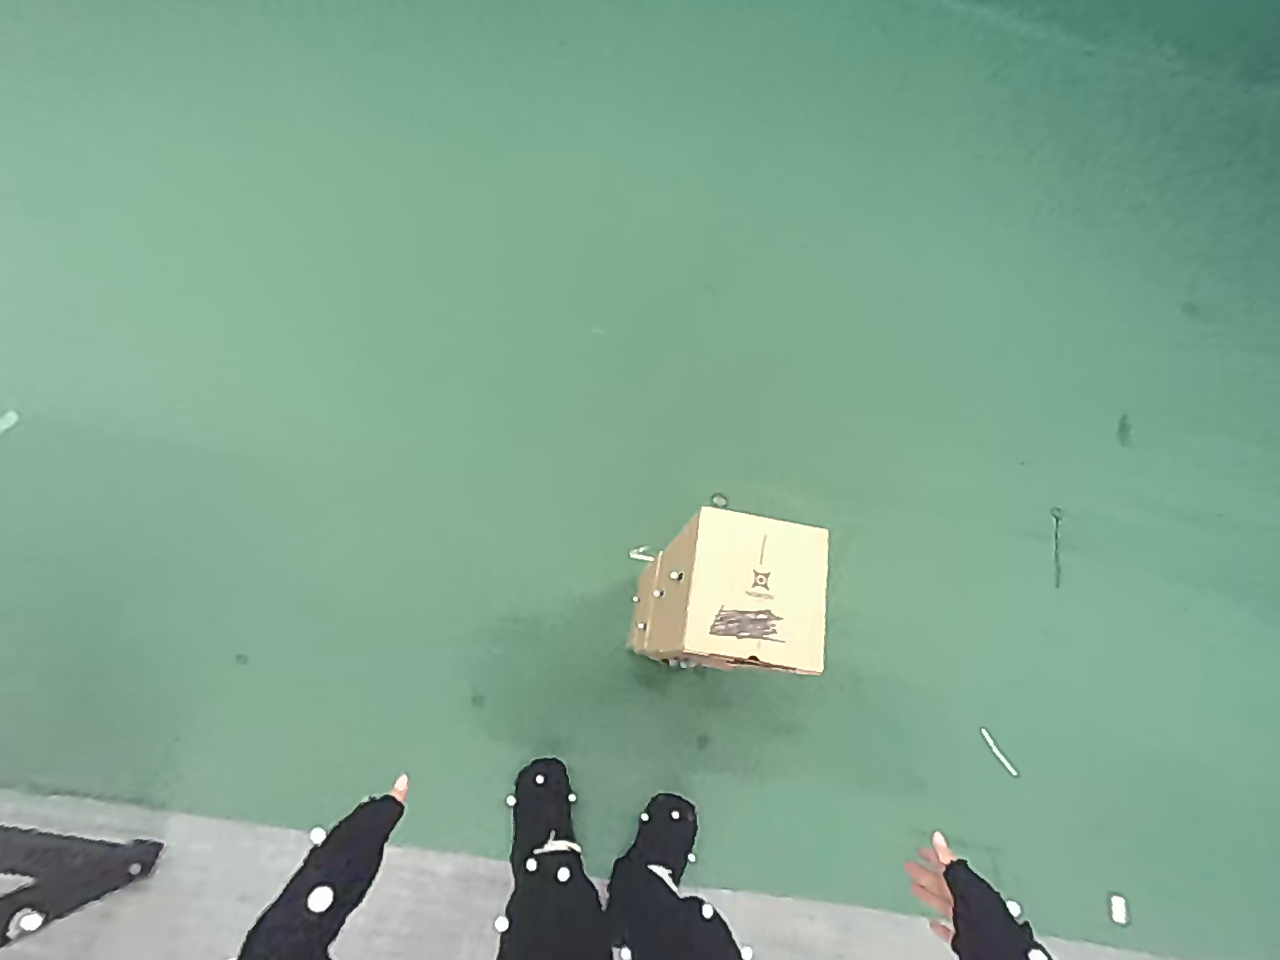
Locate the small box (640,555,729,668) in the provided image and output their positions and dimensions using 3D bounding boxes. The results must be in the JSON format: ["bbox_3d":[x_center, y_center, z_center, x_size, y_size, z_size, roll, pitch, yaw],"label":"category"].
[{"bbox_3d":[0.097,0.256,1.032,0.168,0.176,0.179,10,71,-4],"label":"small box"}]

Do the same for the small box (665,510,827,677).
[{"bbox_3d":[0.133,0.158,0.719,0.168,0.176,0.179,11,69,-4],"label":"small box"}]

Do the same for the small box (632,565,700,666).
[{"bbox_3d":[0.080,0.303,1.187,0.168,0.176,0.179,12,70,-2],"label":"small box"}]
